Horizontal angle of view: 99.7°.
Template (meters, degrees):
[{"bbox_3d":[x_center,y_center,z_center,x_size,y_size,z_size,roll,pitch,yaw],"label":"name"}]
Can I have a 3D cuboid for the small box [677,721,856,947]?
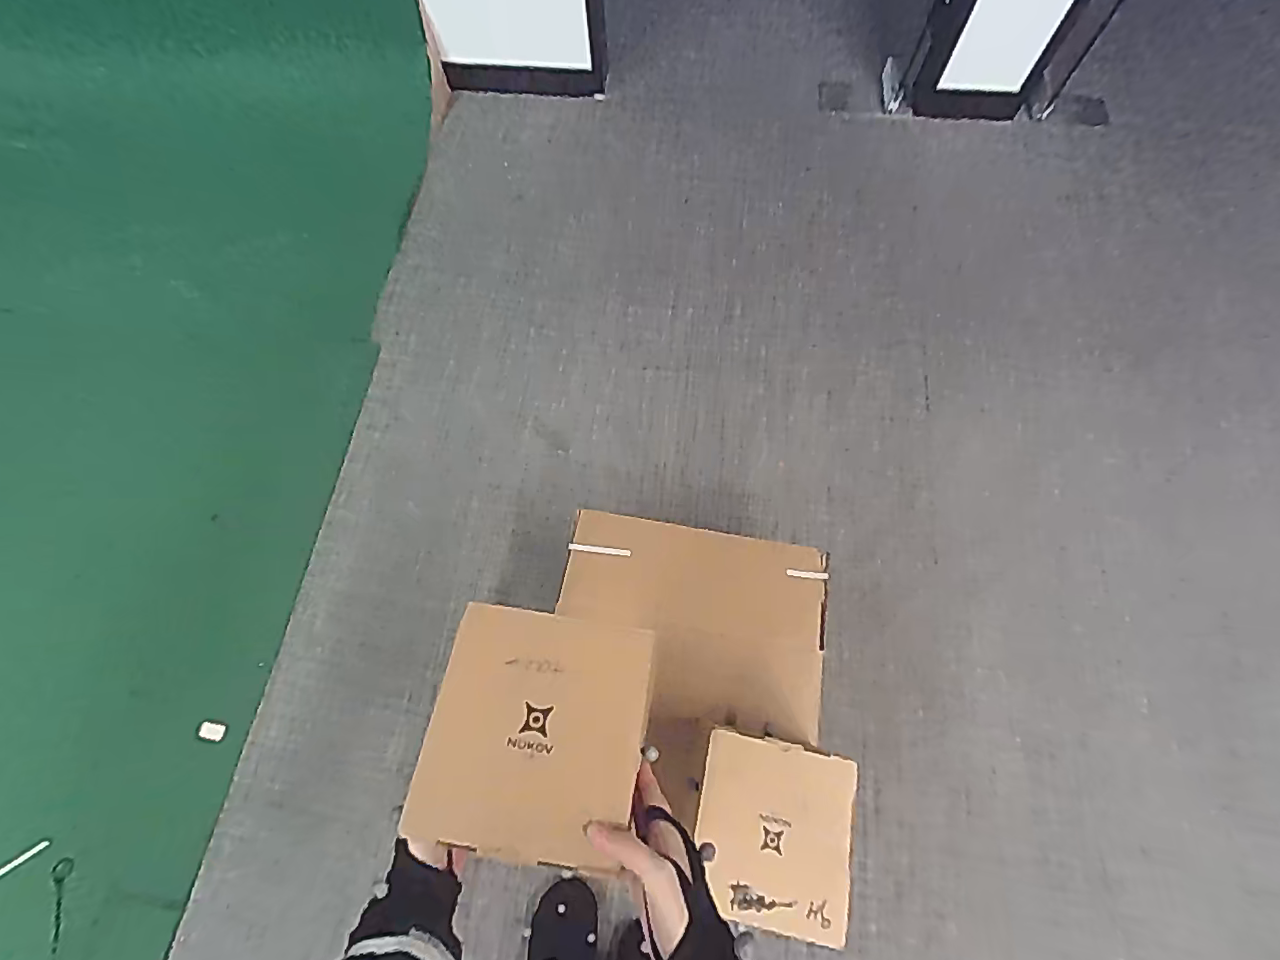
[{"bbox_3d":[0.141,0.397,0.644,0.168,0.176,0.179,12,68,6],"label":"small box"}]

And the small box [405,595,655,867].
[{"bbox_3d":[-0.078,0.225,0.499,0.168,0.176,0.179,8,62,6],"label":"small box"}]
